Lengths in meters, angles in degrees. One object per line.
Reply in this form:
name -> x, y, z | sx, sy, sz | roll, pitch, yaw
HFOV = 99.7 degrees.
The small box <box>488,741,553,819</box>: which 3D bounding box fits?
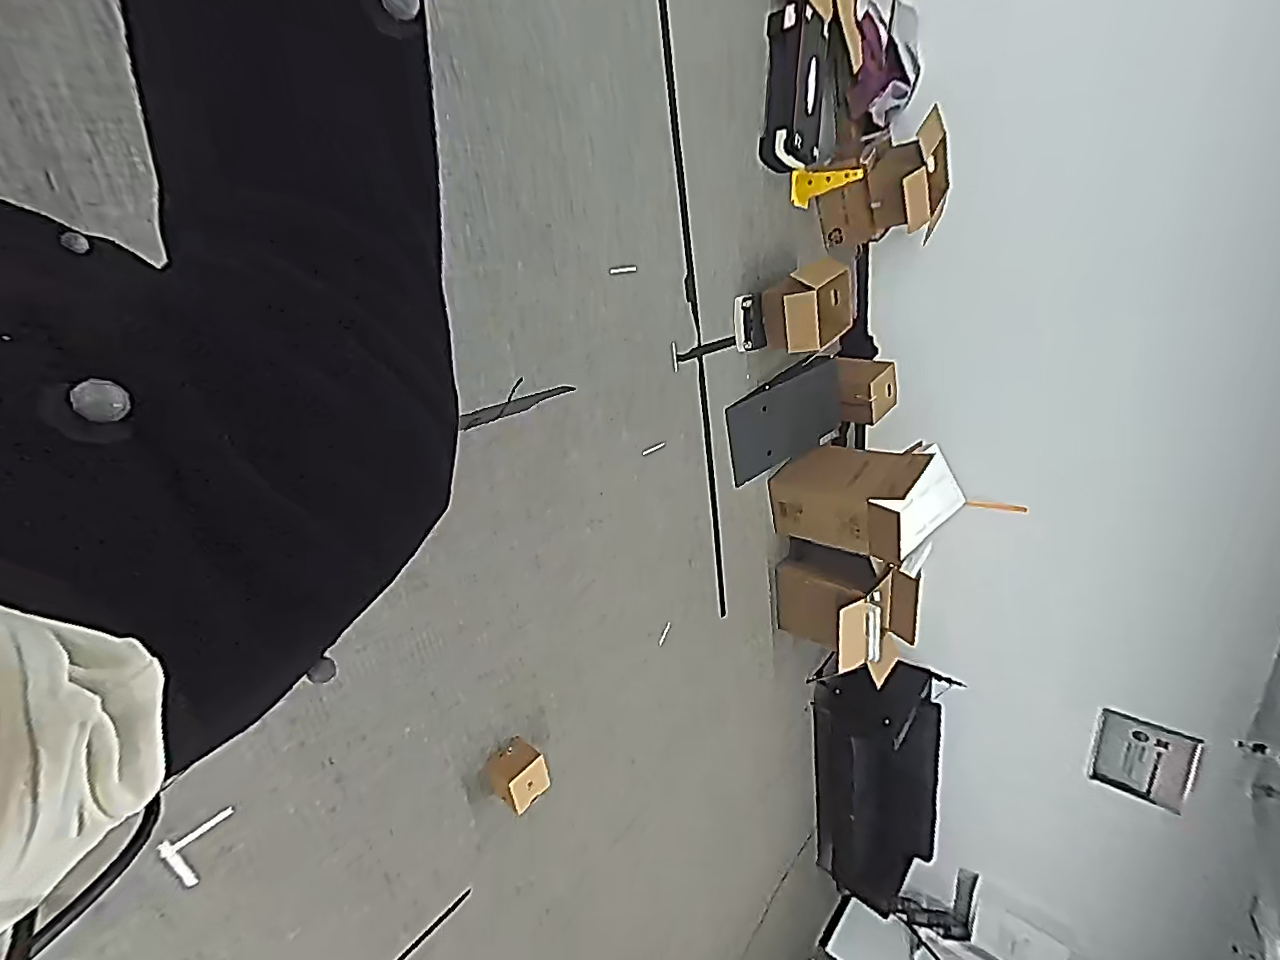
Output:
small box -> -0.471, 1.174, 2.132 | 0.168, 0.176, 0.179 | -29, 119, -42
